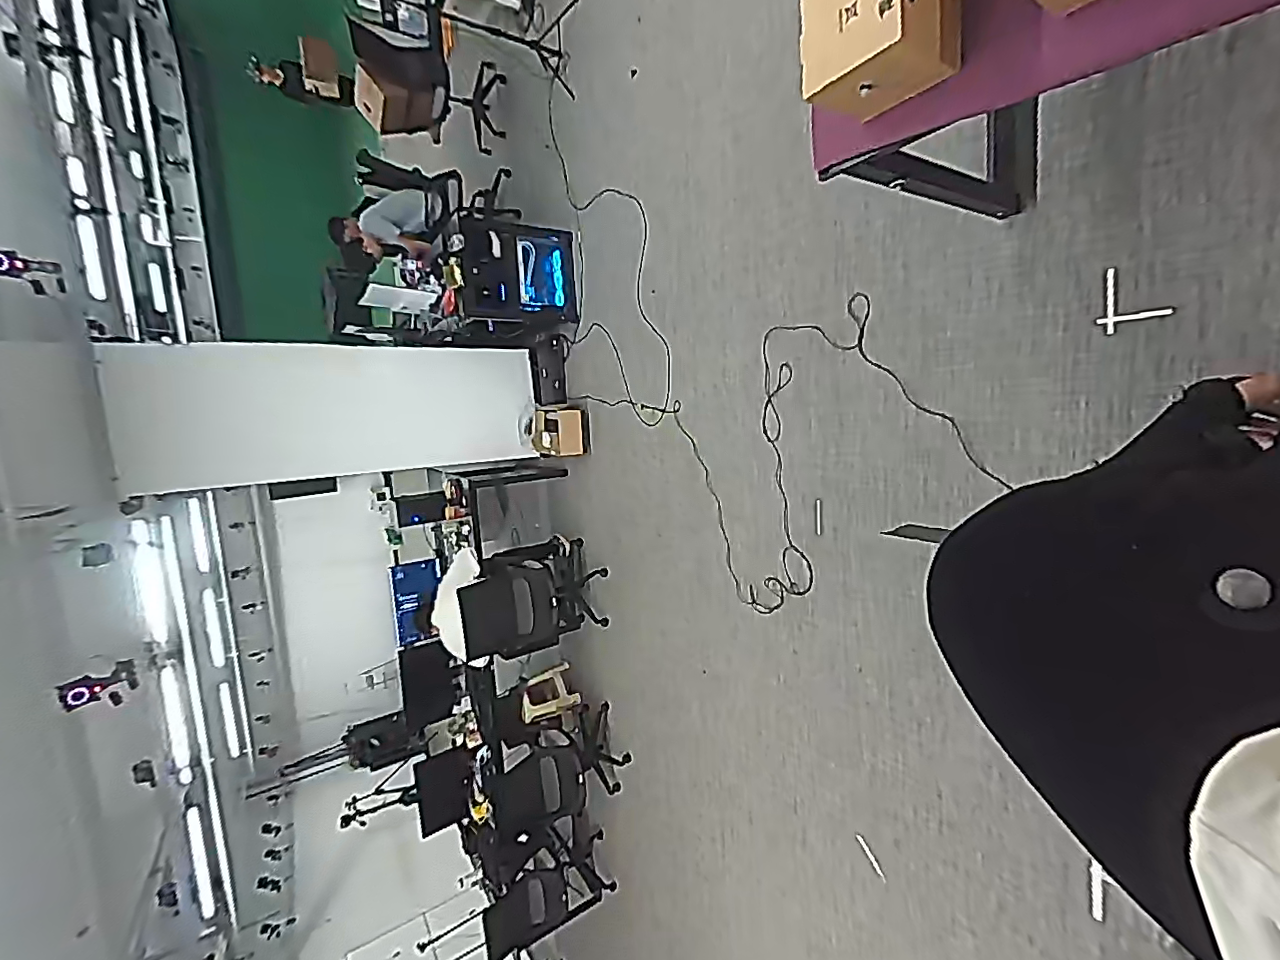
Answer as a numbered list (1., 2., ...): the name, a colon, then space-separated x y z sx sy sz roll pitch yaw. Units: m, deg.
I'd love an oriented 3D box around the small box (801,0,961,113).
1. small box: 0.381 -0.724 0.864 0.179 0.176 0.168 8 105 57
